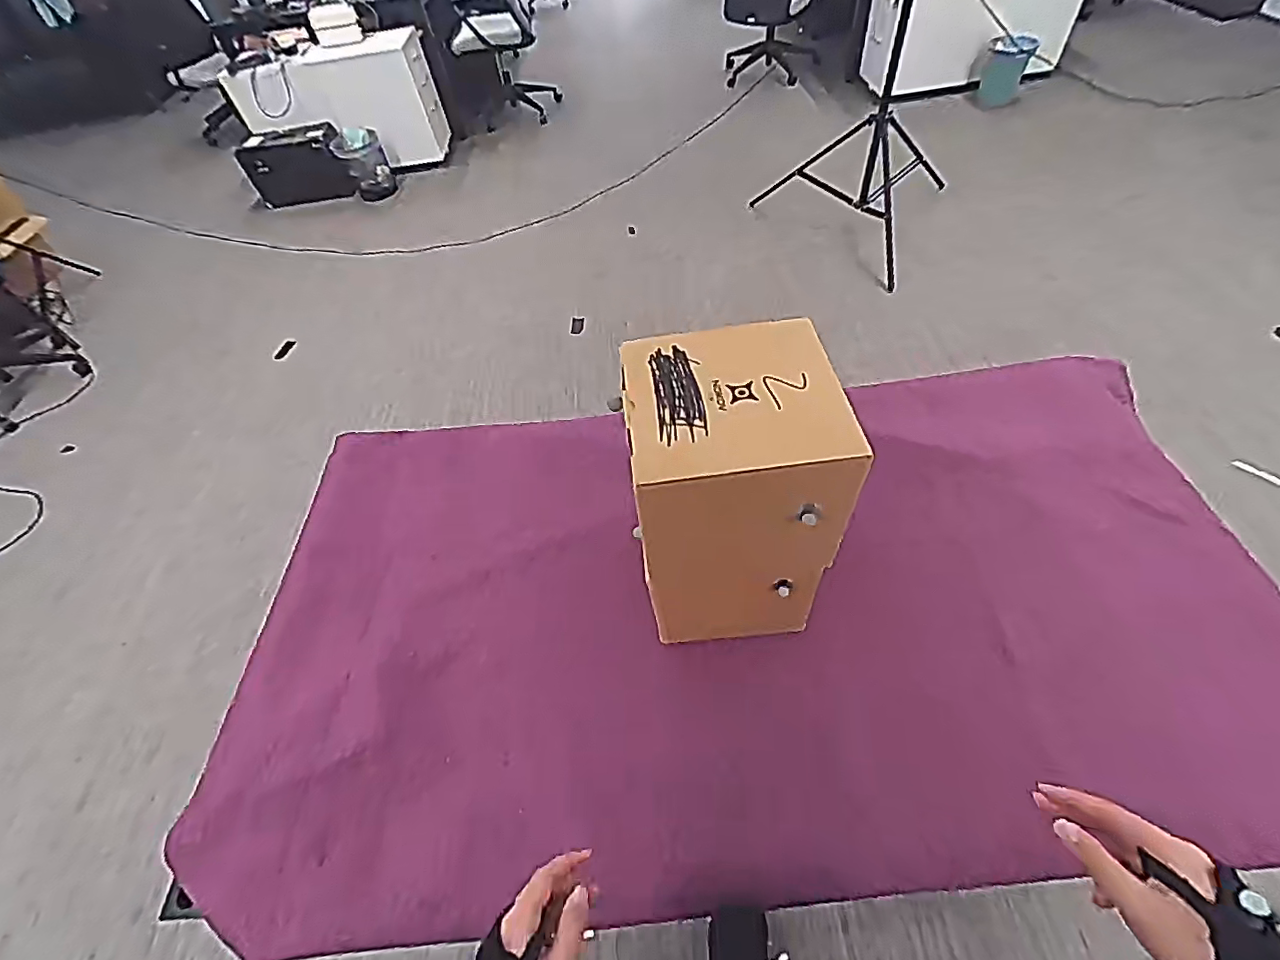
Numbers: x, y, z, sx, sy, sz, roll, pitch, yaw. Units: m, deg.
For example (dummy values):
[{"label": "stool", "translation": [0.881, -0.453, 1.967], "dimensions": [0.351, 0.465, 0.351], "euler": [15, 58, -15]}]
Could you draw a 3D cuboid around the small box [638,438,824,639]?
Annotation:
[{"label": "small box", "translation": [0.097, 0.074, 0.632], "dimensions": [0.179, 0.176, 0.168], "euler": [-6, 52, 2]}]
